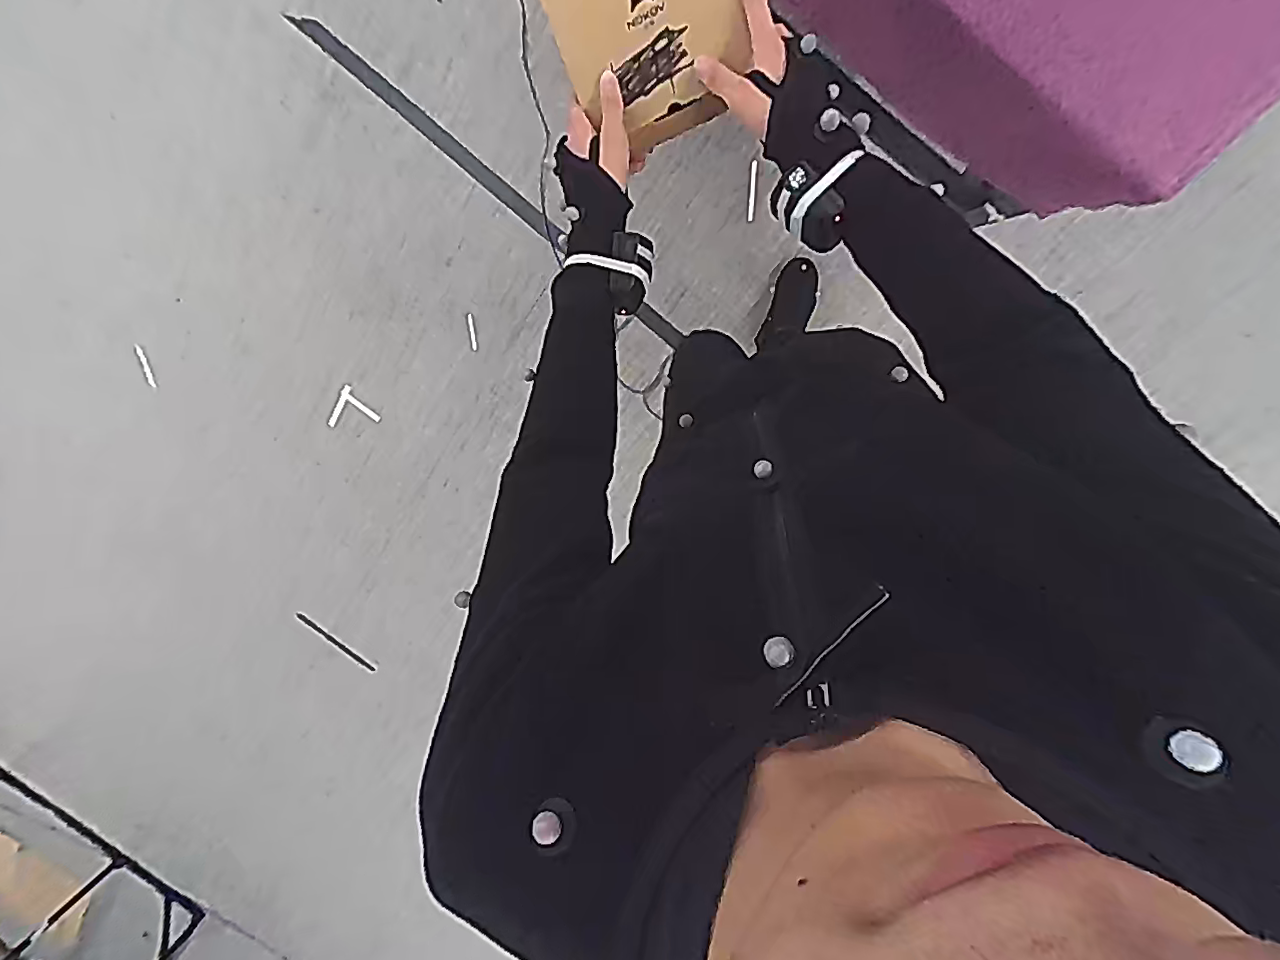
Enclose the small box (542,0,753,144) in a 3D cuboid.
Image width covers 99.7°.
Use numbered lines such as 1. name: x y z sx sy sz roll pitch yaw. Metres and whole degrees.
1. small box: 0.009 -0.465 0.539 0.168 0.176 0.179 -17 116 18
